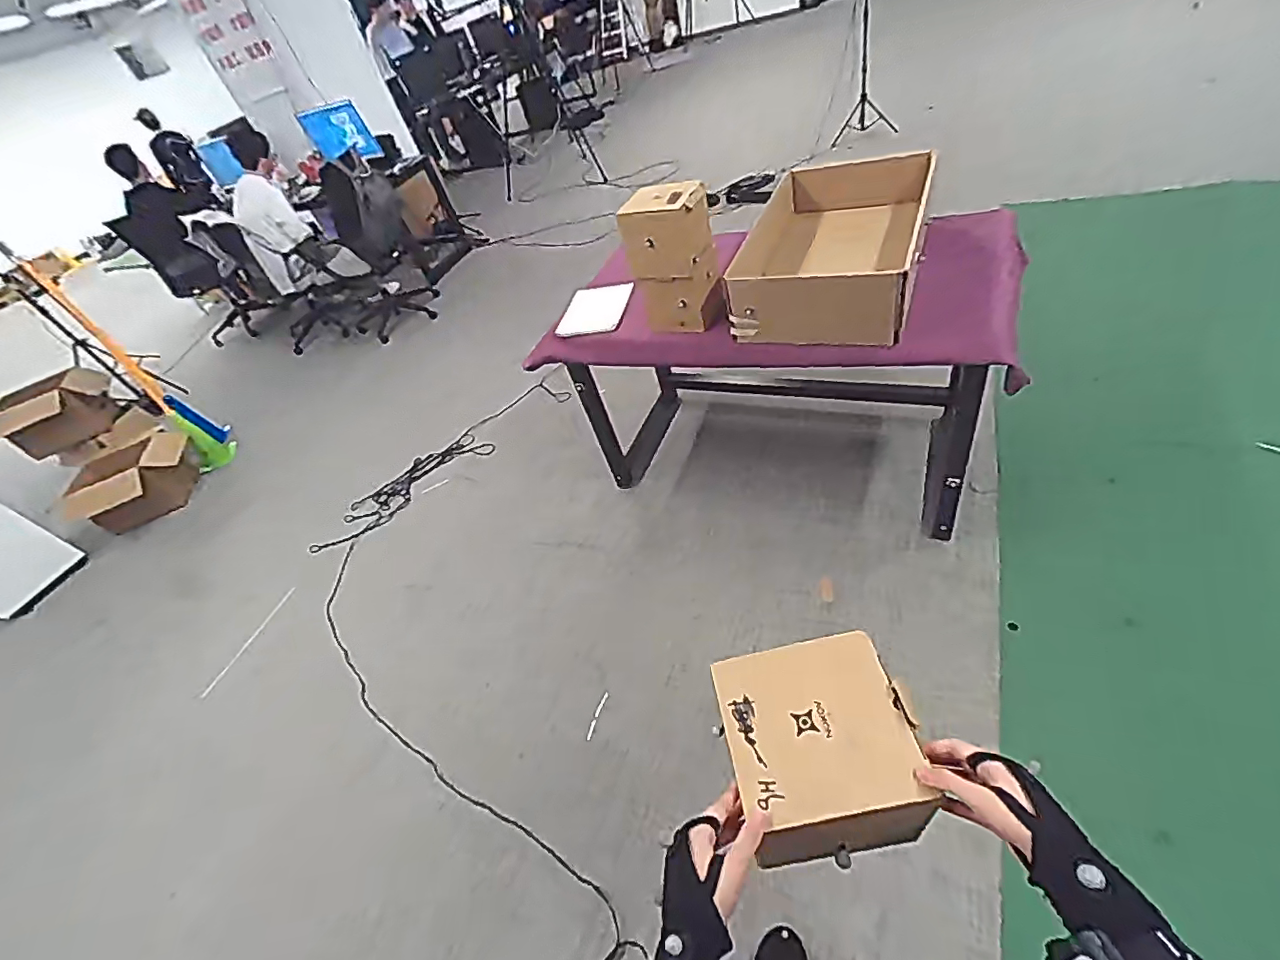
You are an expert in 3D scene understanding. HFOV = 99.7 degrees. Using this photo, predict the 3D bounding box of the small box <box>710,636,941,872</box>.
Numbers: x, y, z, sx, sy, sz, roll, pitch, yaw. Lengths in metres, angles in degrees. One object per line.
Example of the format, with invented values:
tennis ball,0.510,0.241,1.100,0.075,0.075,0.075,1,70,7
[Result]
small box,0.182,0.296,0.581,0.179,0.176,0.168,-13,43,3

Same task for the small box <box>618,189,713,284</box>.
small box,0.074,-0.615,1.379,0.179,0.176,0.168,9,50,27

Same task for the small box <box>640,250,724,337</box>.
small box,0.125,-0.510,1.494,0.168,0.176,0.179,9,50,27
